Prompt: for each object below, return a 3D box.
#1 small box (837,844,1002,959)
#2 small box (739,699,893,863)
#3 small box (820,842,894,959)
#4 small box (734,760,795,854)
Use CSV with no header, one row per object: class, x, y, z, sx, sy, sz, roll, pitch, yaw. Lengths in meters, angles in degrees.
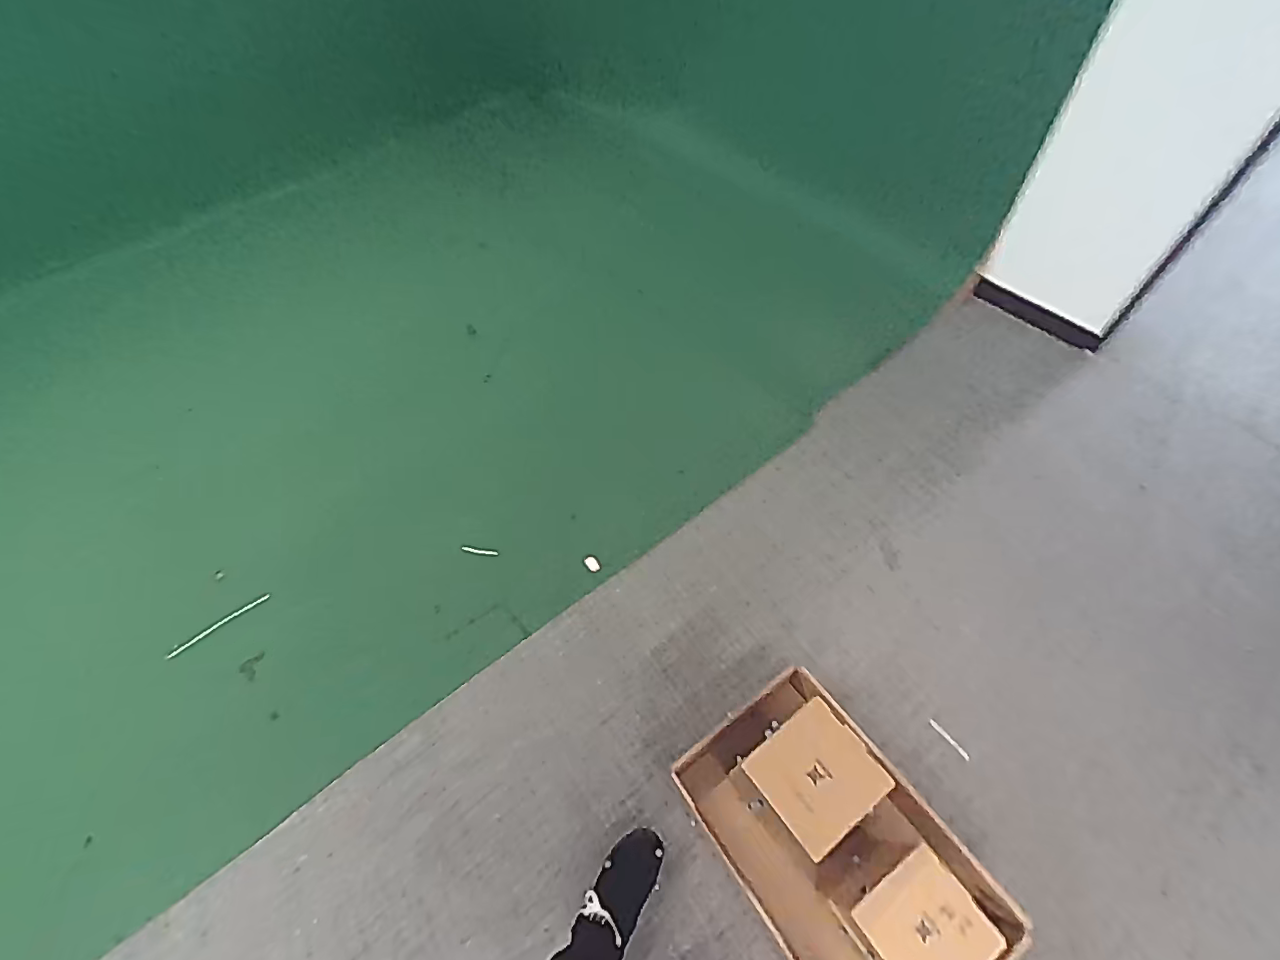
small box,0.463,0.766,0.932,0.179,0.176,0.168,-32,59,-14
small box,0.284,0.506,0.920,0.179,0.176,0.168,-34,61,-13
small box,0.477,0.855,1.070,0.179,0.176,0.168,-32,59,-13
small box,0.299,0.590,1.059,0.179,0.176,0.168,-33,60,-15
